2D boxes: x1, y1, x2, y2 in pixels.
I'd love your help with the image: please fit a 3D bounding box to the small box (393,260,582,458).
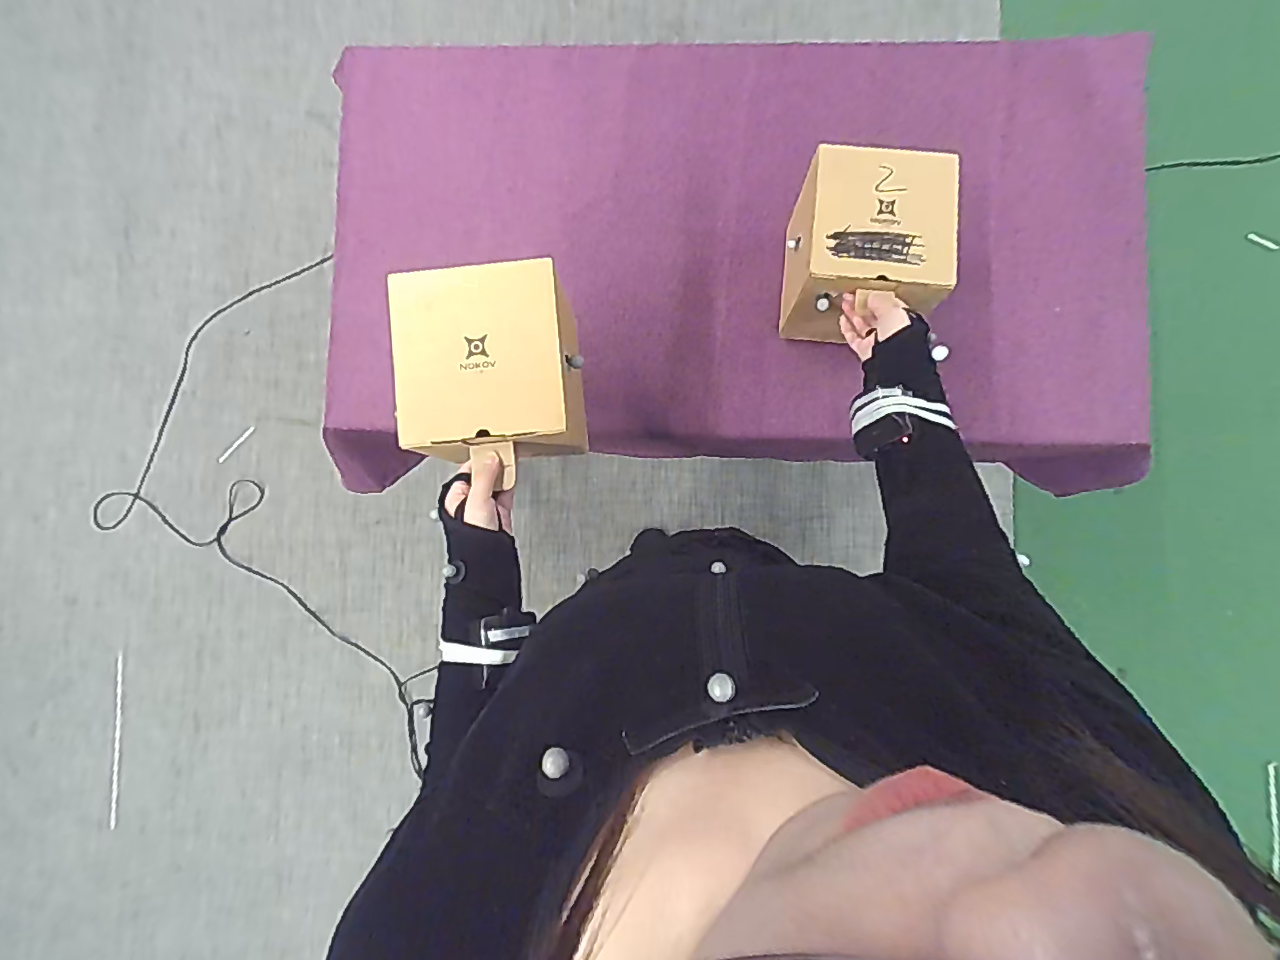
[{"bbox_3d":[-0.162,-0.126,0.620,0.168,0.176,0.179,-5,87,1],"label":"small box"}]
